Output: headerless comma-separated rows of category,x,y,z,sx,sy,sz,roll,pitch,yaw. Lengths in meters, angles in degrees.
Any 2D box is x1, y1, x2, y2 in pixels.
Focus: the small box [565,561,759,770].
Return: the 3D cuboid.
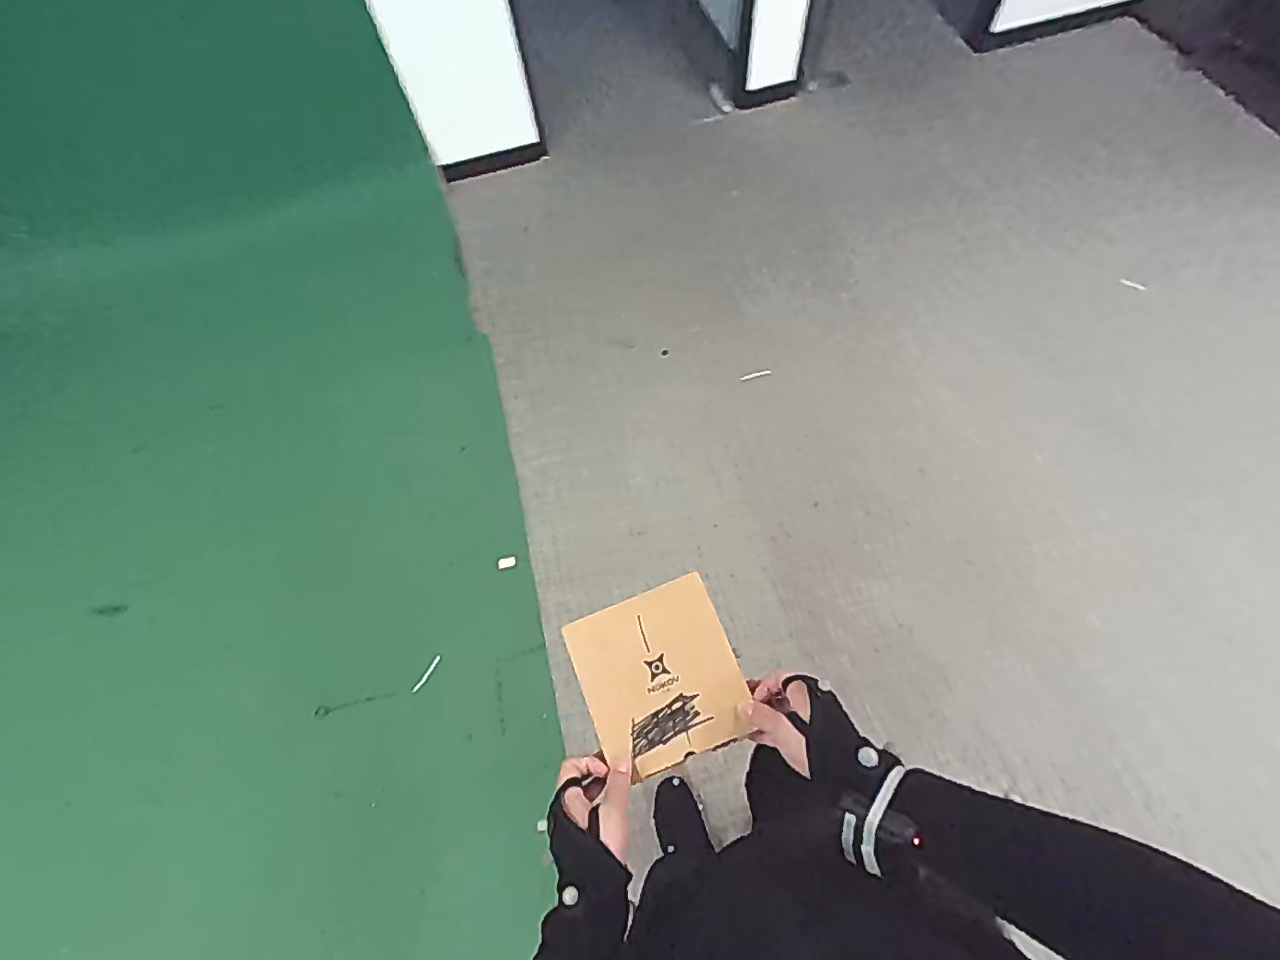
small box,0.027,0.213,0.651,0.168,0.176,0.179,-20,73,-2
